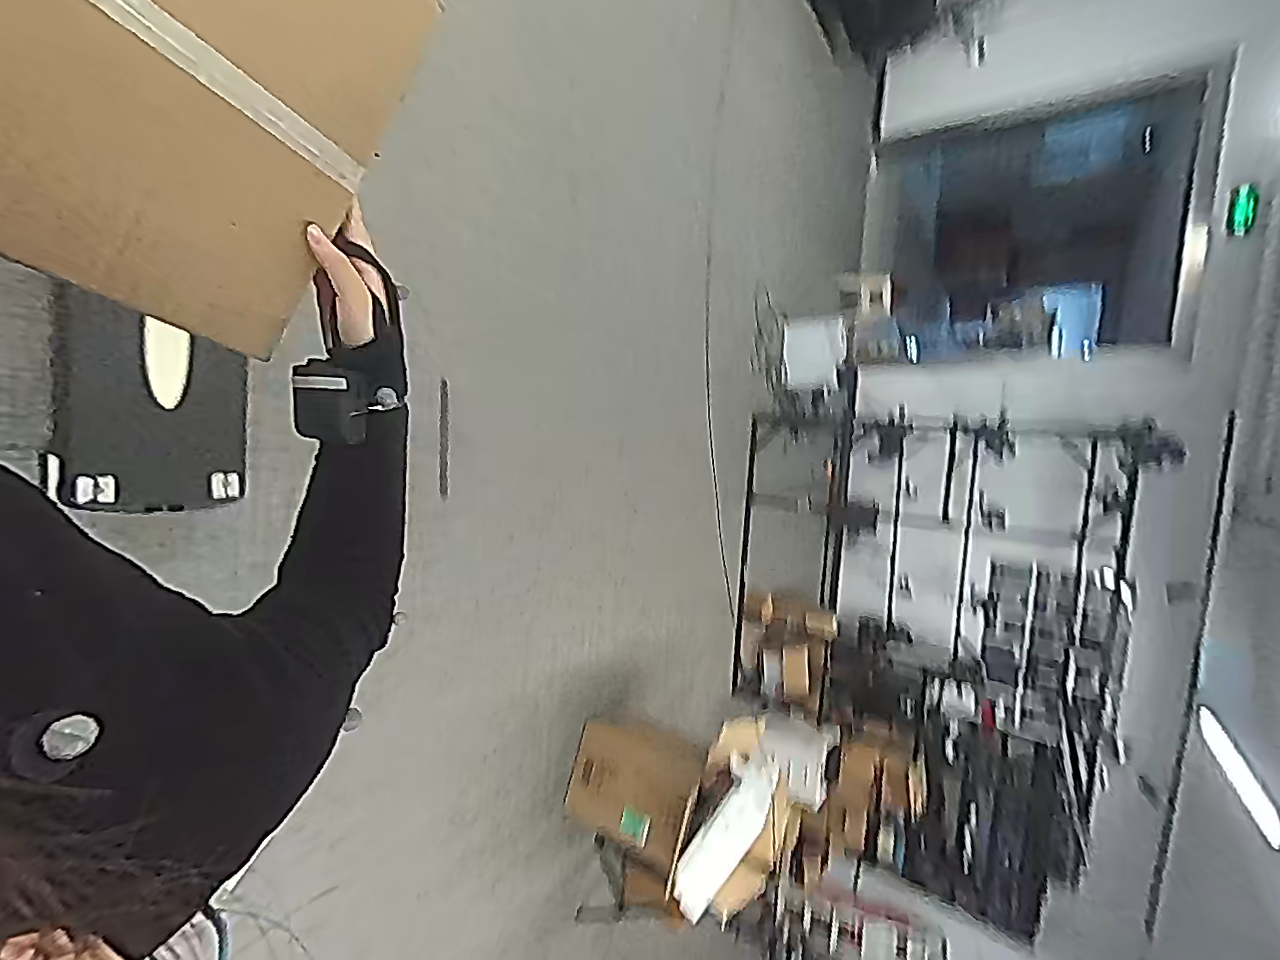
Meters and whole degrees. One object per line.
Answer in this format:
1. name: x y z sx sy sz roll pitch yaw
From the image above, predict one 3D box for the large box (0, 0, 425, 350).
1. large box: -0.435 -0.333 0.341 0.408 0.320 0.320 24 92 -54
